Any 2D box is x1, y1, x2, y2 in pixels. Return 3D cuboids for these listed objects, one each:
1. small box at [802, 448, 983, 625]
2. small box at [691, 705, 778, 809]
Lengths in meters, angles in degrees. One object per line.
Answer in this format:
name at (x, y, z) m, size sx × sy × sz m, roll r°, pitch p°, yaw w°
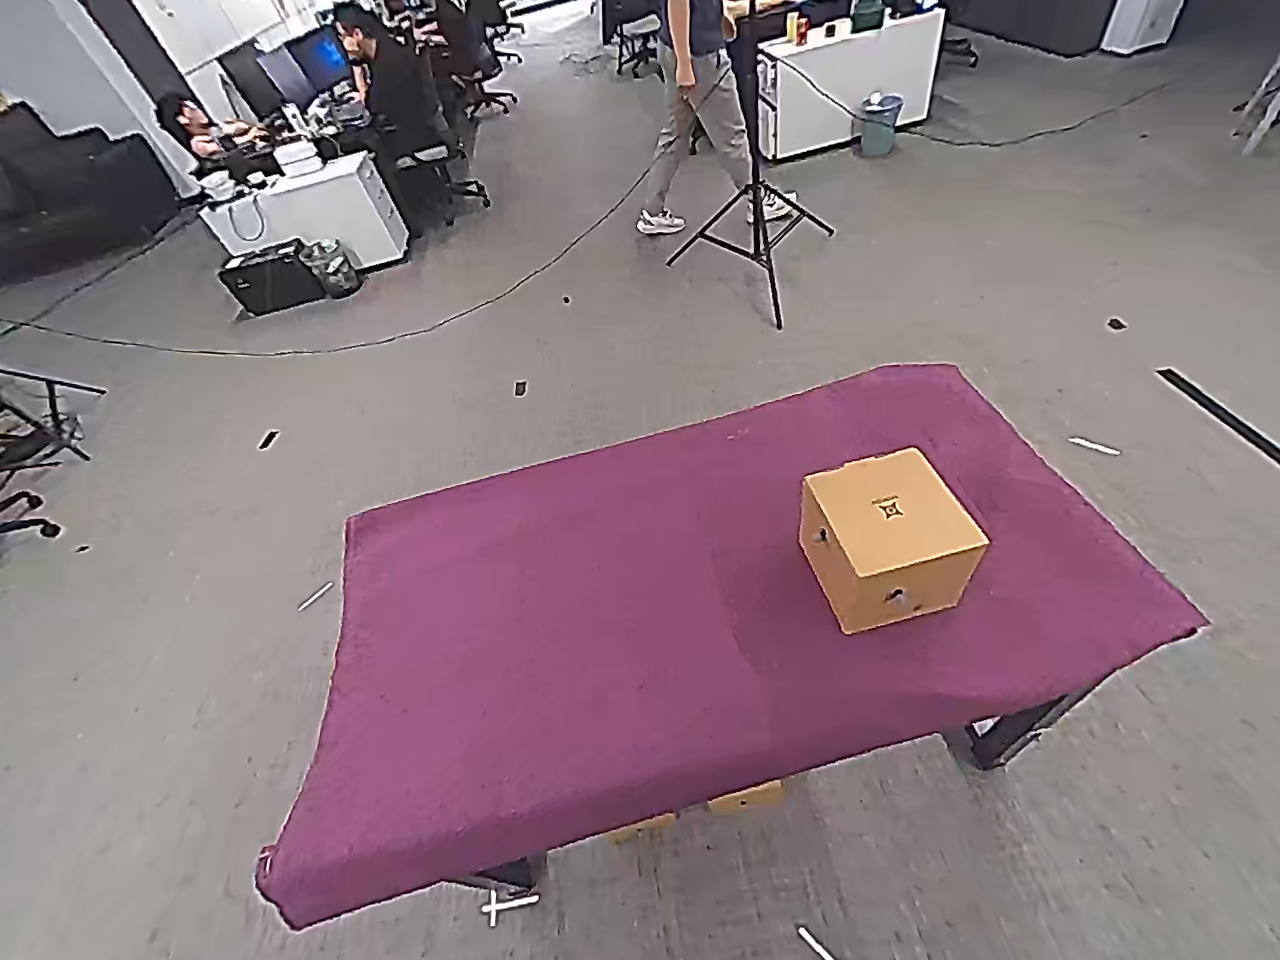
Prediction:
small box at (0.343, 0.089, 0.774) m, size 0.168 × 0.176 × 0.179 m, roll -15°, pitch 48°, yaw 1°
small box at (0.225, 0.663, 1.286) m, size 0.168 × 0.176 × 0.179 m, roll -13°, pitch 47°, yaw 2°
